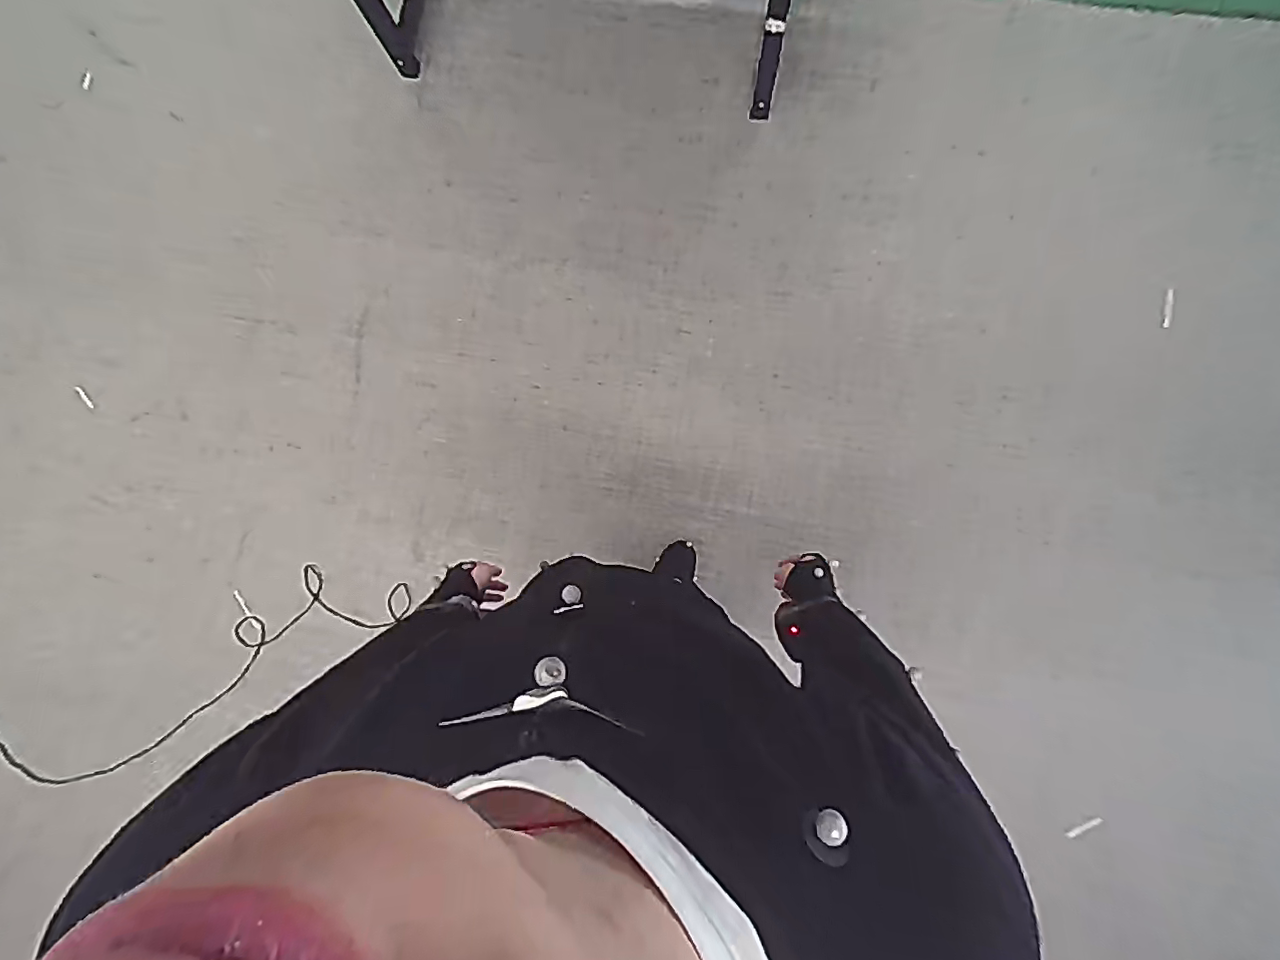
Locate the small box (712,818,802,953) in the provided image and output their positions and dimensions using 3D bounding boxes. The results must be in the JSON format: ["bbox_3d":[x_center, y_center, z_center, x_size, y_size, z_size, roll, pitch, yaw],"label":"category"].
[{"bbox_3d":[0.264,0.926,1.254,0.168,0.176,0.179,9,88,5],"label":"small box"}]
